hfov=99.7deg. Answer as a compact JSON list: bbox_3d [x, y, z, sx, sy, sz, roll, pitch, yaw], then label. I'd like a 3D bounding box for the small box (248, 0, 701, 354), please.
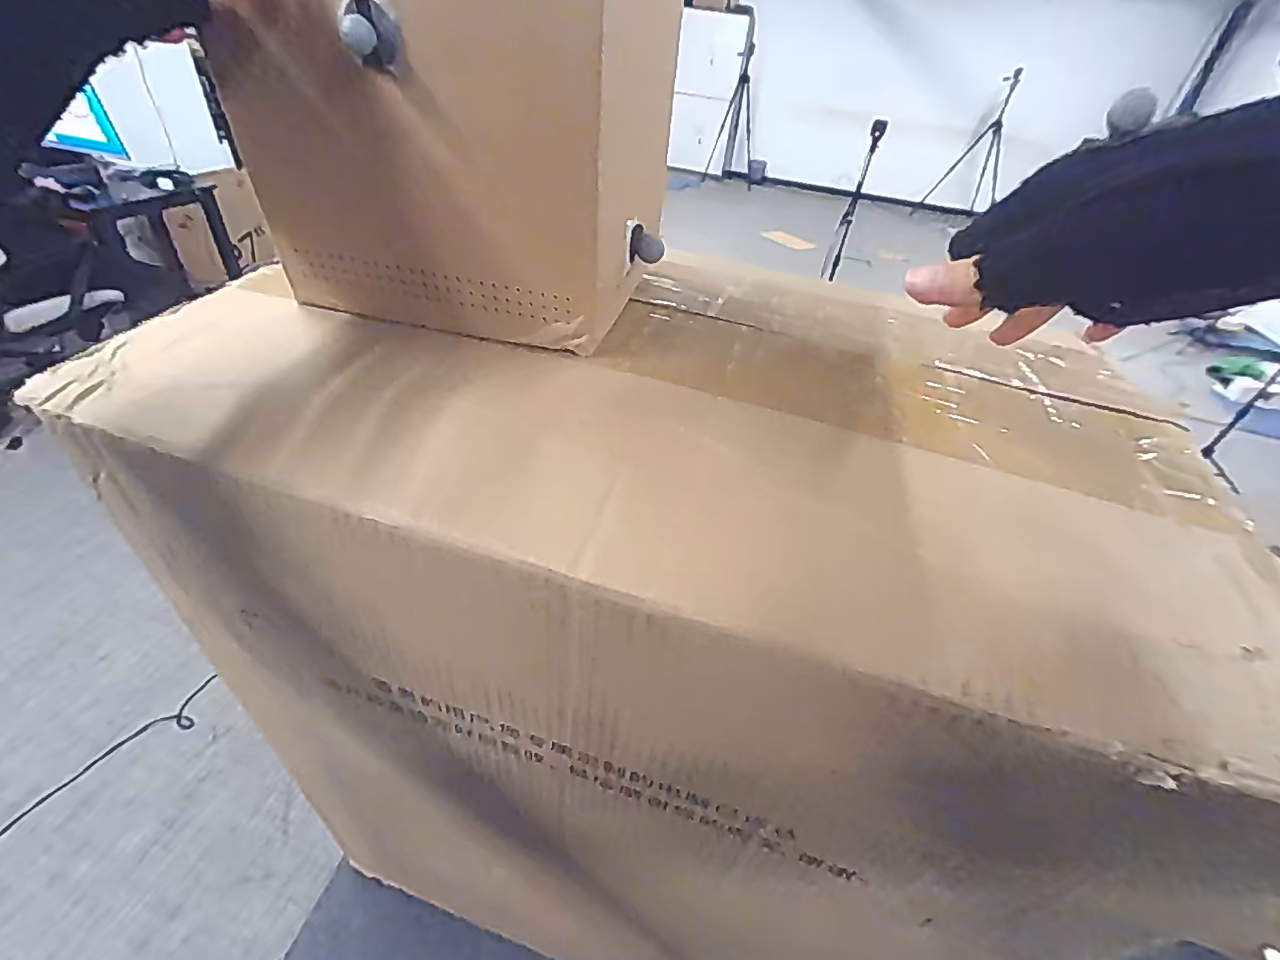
[{"bbox_3d":[-0.073,-0.190,0.303,0.179,0.176,0.168,13,44,5],"label":"small box"}]
